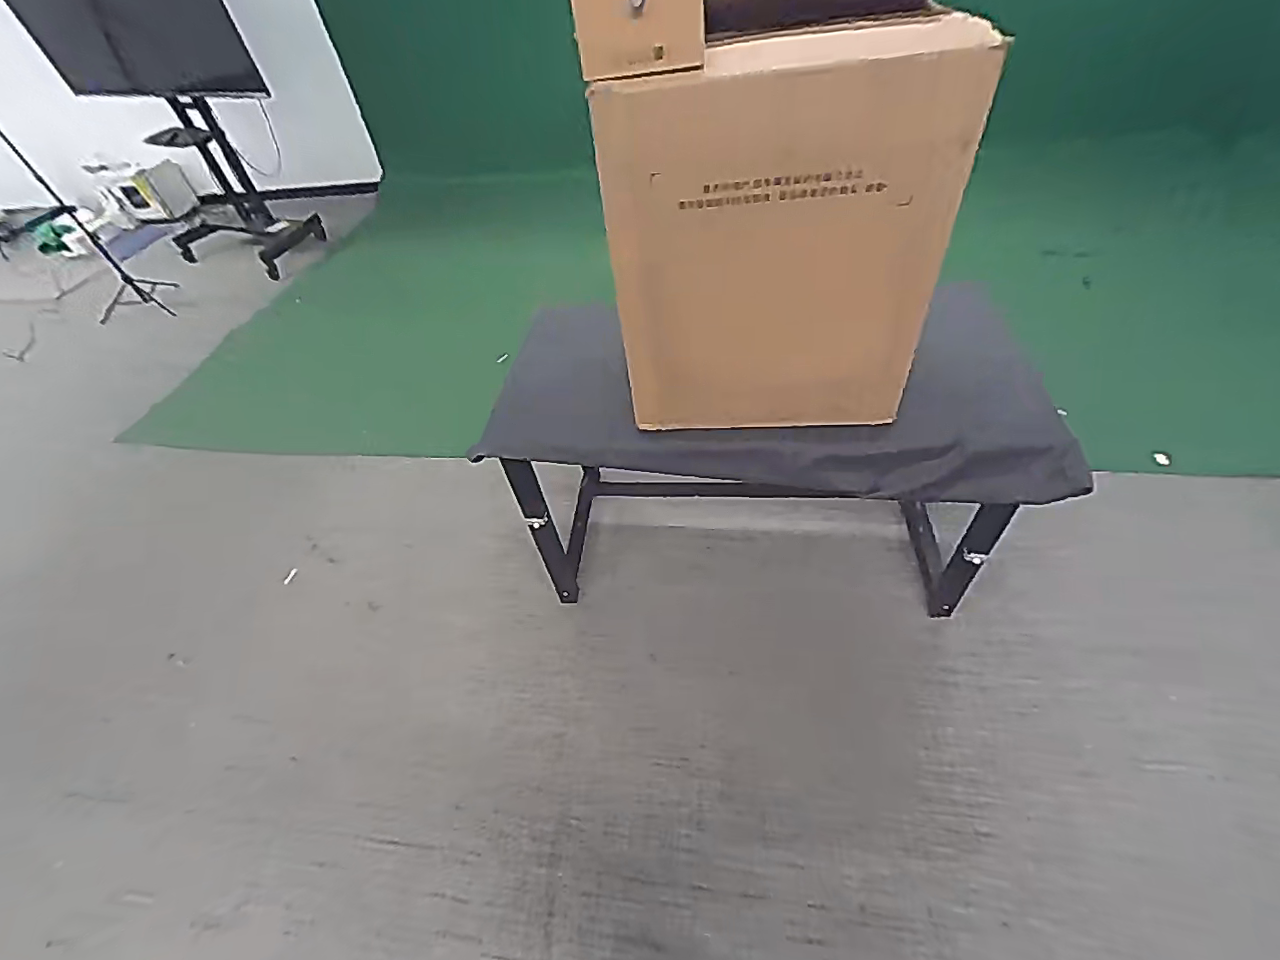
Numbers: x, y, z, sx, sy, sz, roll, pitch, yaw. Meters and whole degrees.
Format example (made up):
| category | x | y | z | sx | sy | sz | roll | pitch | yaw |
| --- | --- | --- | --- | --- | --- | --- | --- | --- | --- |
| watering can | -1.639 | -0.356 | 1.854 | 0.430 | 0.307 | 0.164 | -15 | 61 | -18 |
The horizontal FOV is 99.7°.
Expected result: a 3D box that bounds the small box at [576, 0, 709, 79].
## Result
| category | x | y | z | sx | sy | sz | roll | pitch | yaw |
| --- | --- | --- | --- | --- | --- | --- | --- | --- | --- |
| small box | 0.006 | -0.657 | 0.719 | 0.168 | 0.176 | 0.179 | -2 | 48 | 7 |
